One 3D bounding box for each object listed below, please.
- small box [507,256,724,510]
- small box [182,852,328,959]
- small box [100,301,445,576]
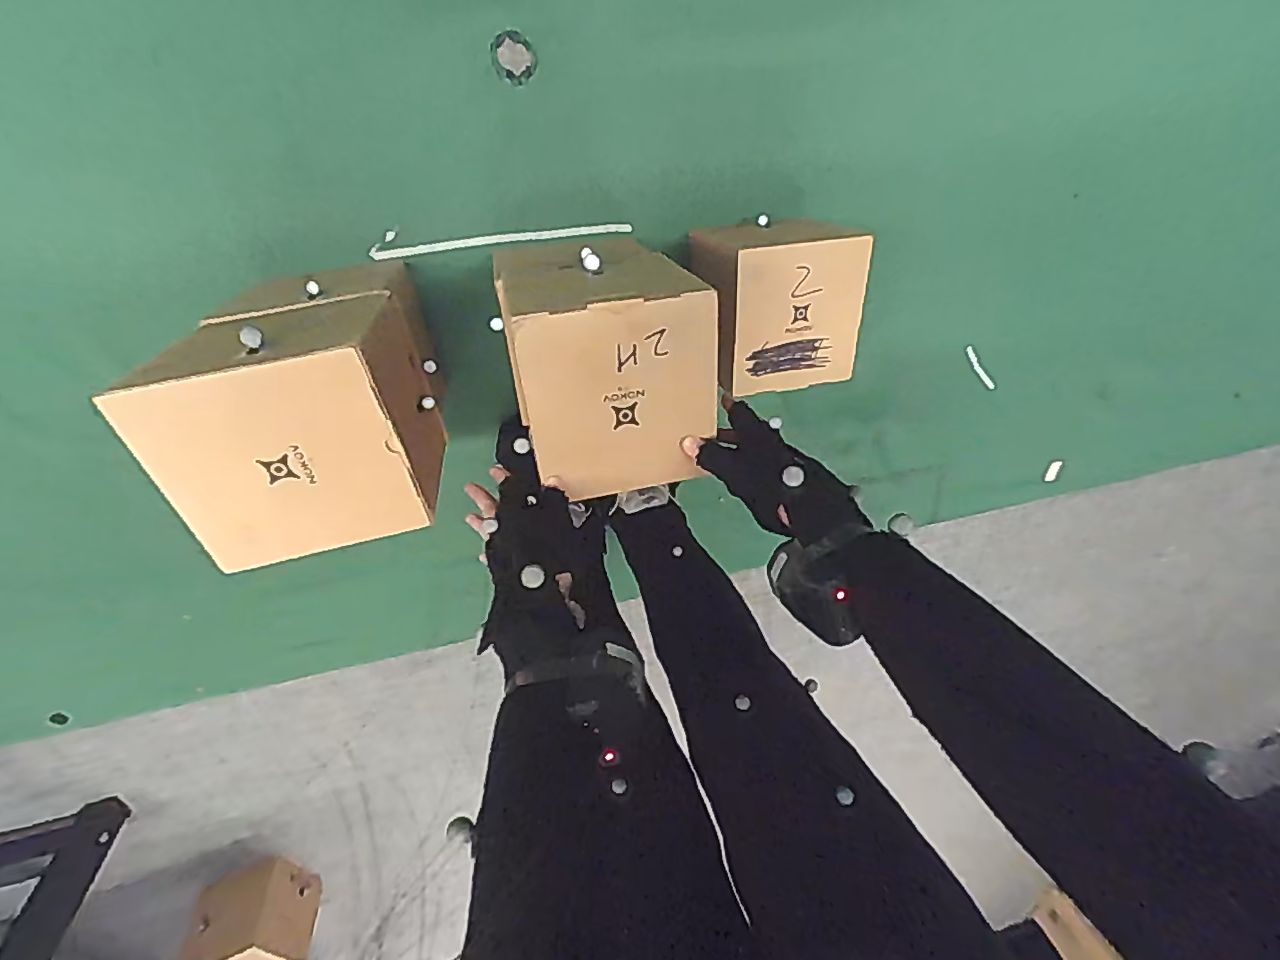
[{"bbox_3d":[-0.028,-0.100,0.516,0.168,0.176,0.179,-11,124,-10],"label":"small box"},{"bbox_3d":[-0.819,0.951,1.170,0.179,0.176,0.168,-21,126,-1],"label":"small box"},{"bbox_3d":[-0.288,-0.047,0.480,0.179,0.176,0.168,-14,124,-7],"label":"small box"}]
